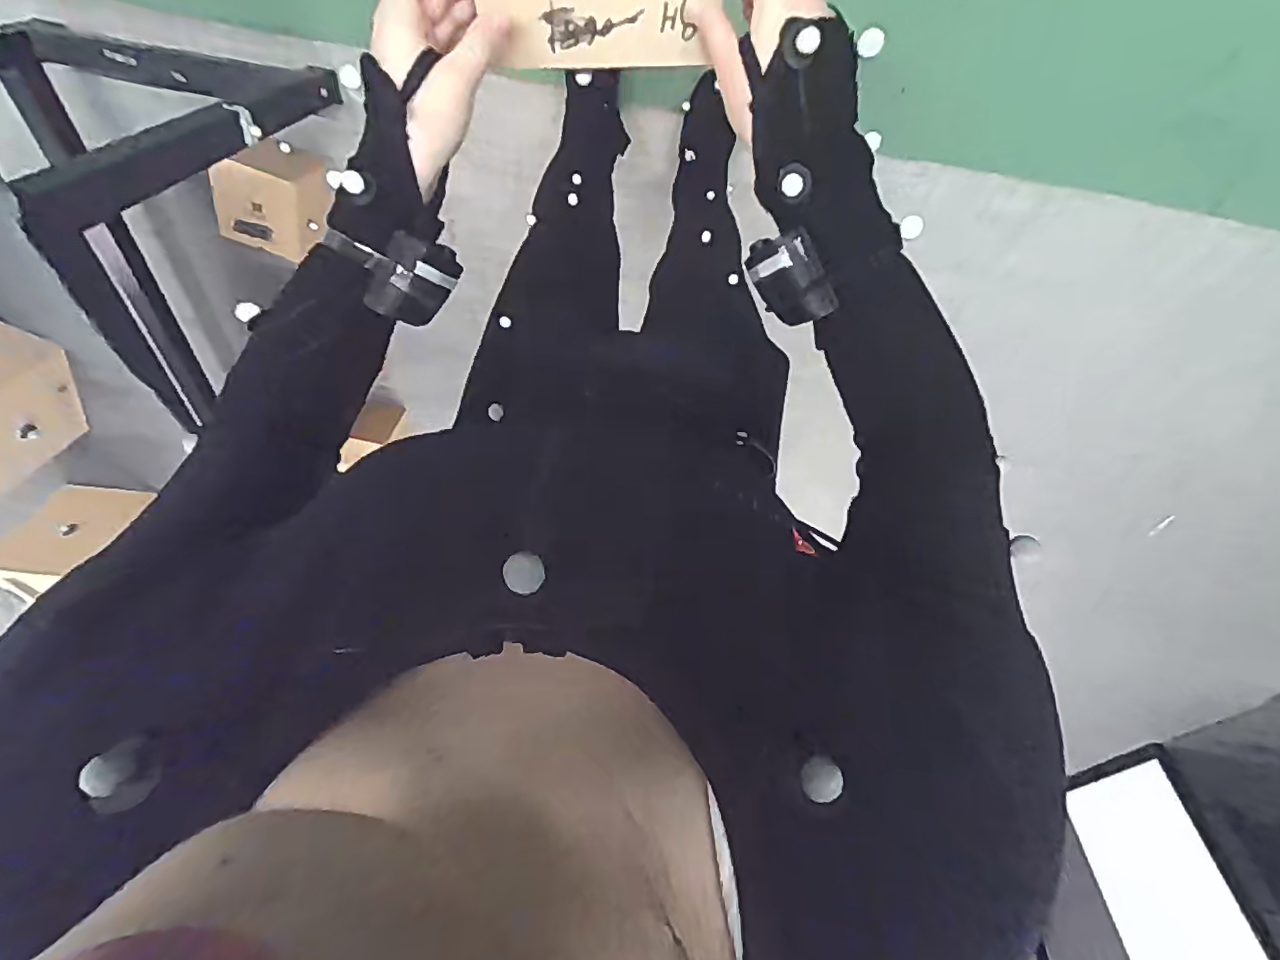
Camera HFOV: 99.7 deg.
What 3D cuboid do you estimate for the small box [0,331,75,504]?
[{"bbox_3d":[-0.834,-0.090,0.640,0.179,0.176,0.168,25,133,-16],"label":"small box"}]

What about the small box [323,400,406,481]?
[{"bbox_3d":[-0.837,-0.124,1.670,0.179,0.176,0.168,12,136,-6],"label":"small box"}]

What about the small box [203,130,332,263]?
[{"bbox_3d":[-0.780,-0.606,1.156,0.168,0.176,0.179,17,134,-13],"label":"small box"}]

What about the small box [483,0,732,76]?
[{"bbox_3d":[-0.017,-0.403,0.367,0.168,0.176,0.179,3,141,4],"label":"small box"}]
